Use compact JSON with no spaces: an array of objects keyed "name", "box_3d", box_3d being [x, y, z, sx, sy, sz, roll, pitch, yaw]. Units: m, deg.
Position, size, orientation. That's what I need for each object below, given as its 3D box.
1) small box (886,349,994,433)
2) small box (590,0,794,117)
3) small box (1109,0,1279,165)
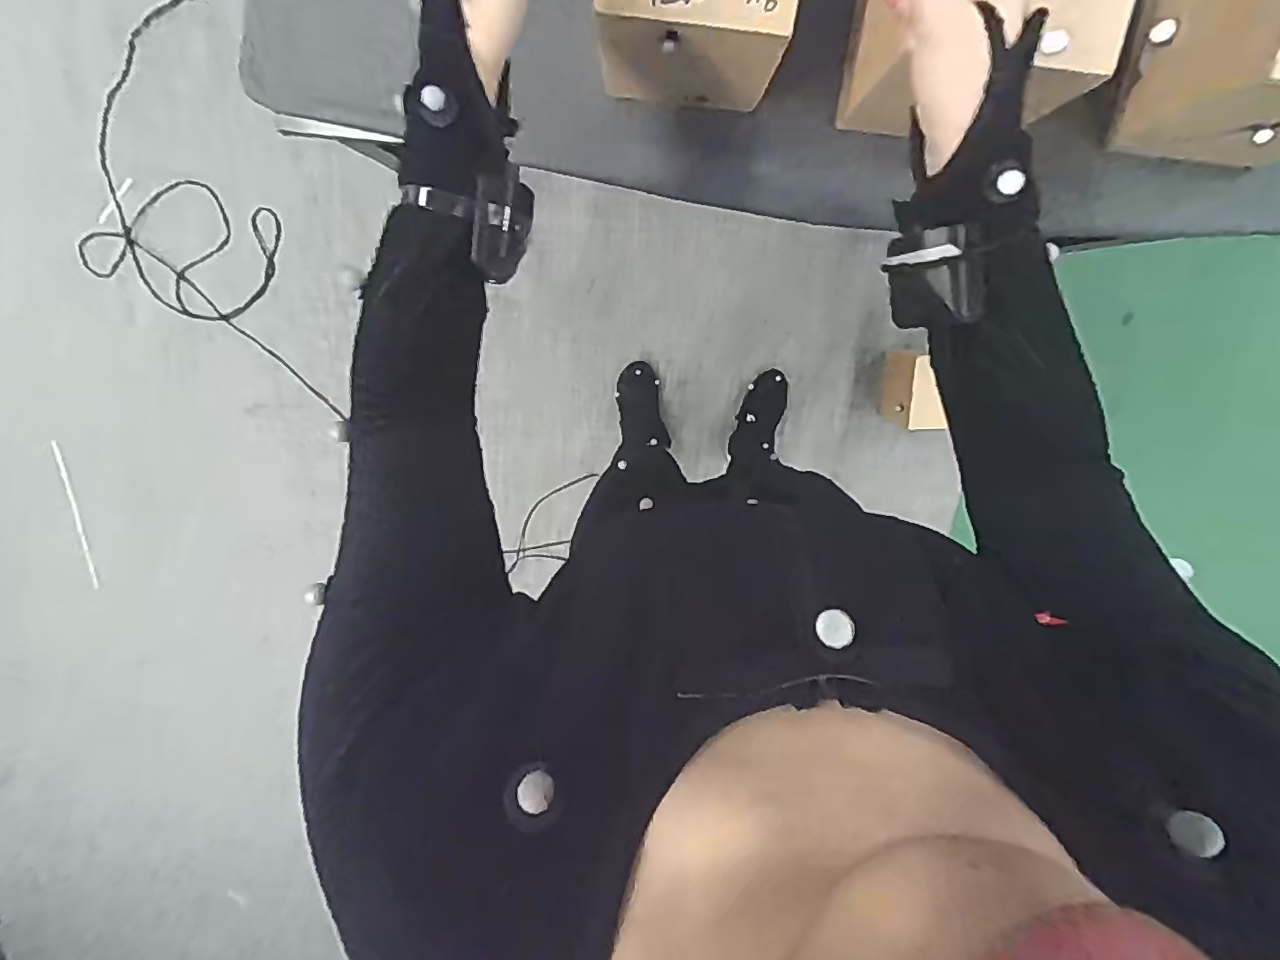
[{"name":"small box","box_3d":[0.717,-0.220,1.315,0.168,0.176,0.179,-2,108,2]},{"name":"small box","box_3d":[0.052,-0.469,0.491,0.168,0.176,0.179,7,106,0]},{"name":"small box","box_3d":[0.597,-0.405,0.489,0.179,0.176,0.168,7,104,1]}]
